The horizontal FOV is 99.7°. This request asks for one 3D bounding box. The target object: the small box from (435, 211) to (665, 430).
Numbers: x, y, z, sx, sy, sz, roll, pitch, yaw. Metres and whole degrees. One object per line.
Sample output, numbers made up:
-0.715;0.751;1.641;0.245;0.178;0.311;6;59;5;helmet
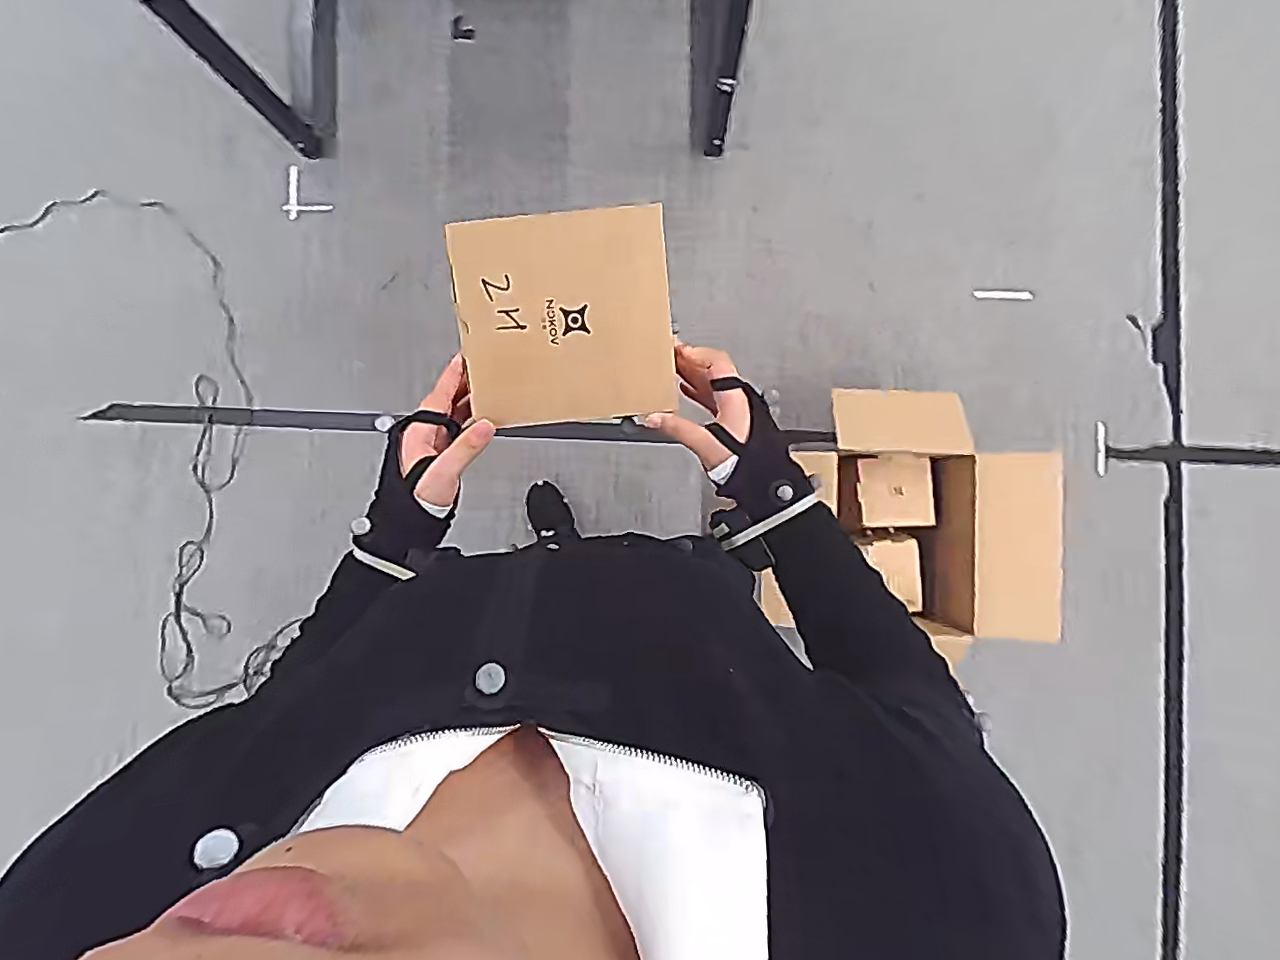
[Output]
-0.074;-0.144;0.527;0.179;0.176;0.168;-6;99;0;small box
